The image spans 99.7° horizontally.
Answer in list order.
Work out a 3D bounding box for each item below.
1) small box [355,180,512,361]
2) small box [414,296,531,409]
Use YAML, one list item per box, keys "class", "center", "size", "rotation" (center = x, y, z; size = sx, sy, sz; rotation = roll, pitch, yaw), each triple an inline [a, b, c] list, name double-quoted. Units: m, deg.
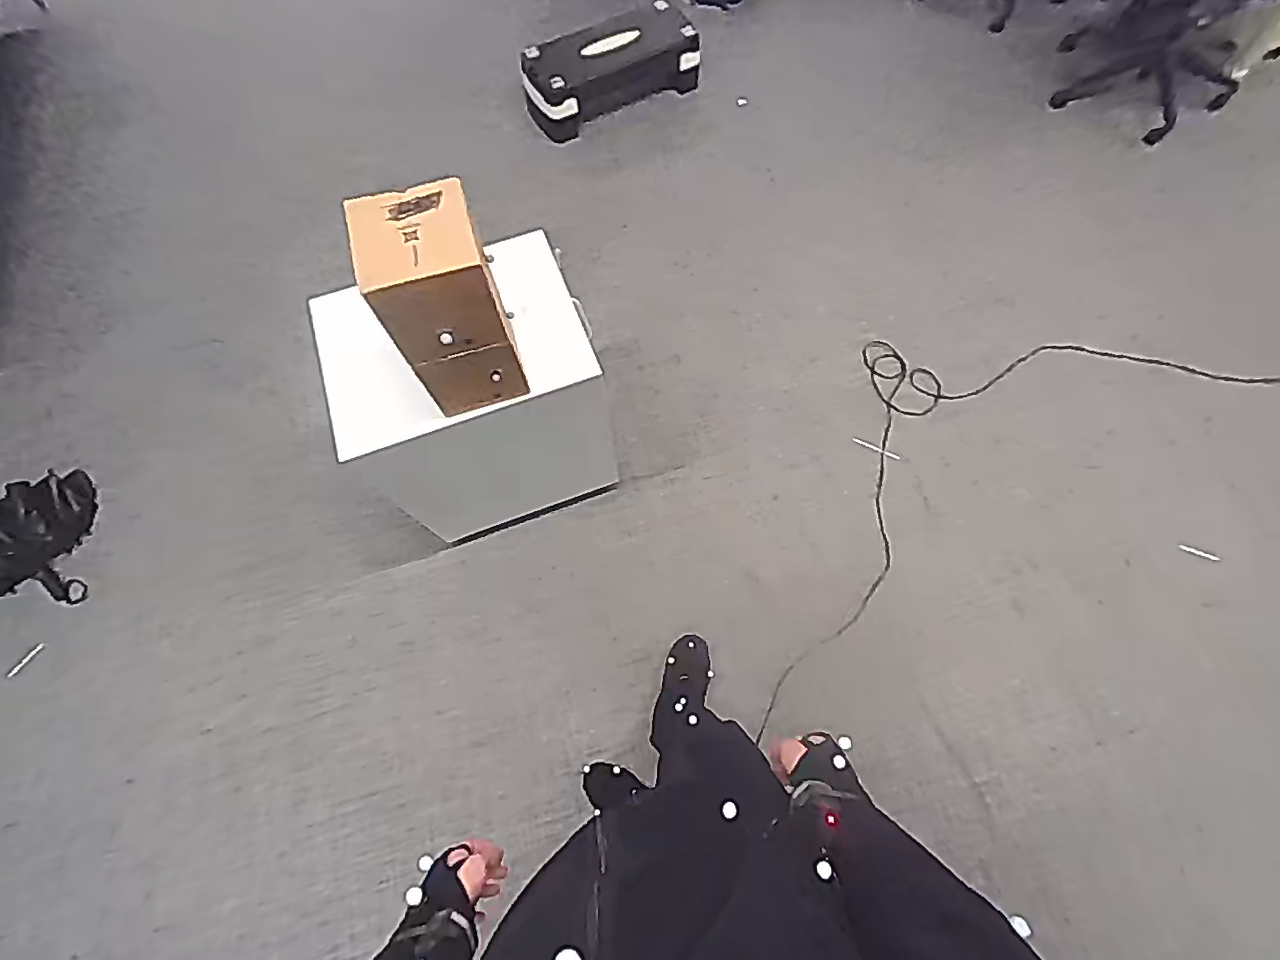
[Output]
- class: "small box"
  center: [-0.307, -0.313, 0.826]
  size: [0.168, 0.176, 0.179]
  rotation: [-16, 69, -6]
- class: "small box"
  center: [-0.306, -0.248, 0.977]
  size: [0.168, 0.176, 0.179]
  rotation: [-17, 67, -7]
